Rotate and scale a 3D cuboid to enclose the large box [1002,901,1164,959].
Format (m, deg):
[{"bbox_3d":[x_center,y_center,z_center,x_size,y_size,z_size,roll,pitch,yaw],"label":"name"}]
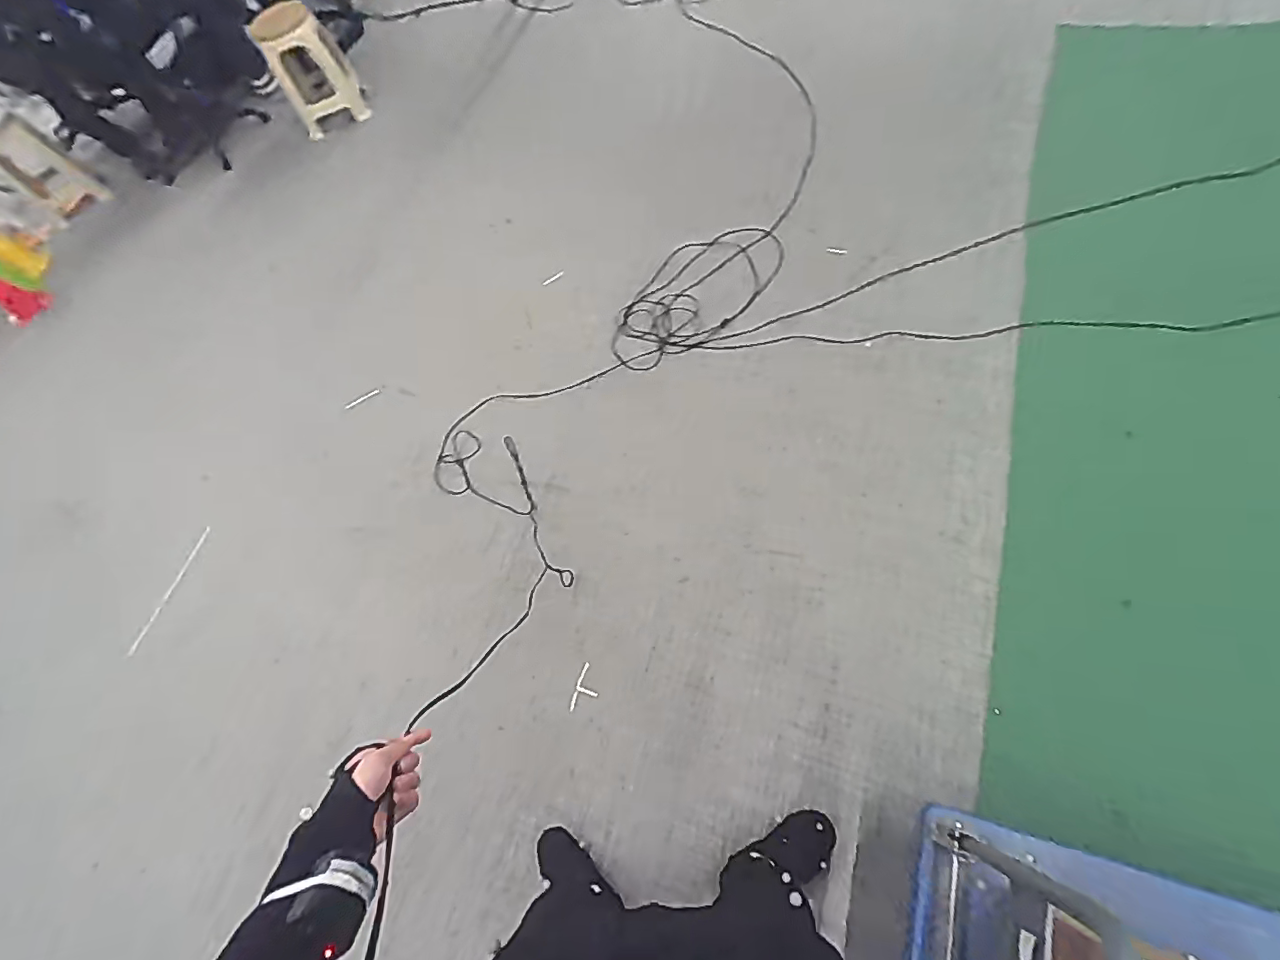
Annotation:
[{"bbox_3d":[0.802,0.900,0.779,0.408,0.320,0.320,15,69,16],"label":"large box"}]
